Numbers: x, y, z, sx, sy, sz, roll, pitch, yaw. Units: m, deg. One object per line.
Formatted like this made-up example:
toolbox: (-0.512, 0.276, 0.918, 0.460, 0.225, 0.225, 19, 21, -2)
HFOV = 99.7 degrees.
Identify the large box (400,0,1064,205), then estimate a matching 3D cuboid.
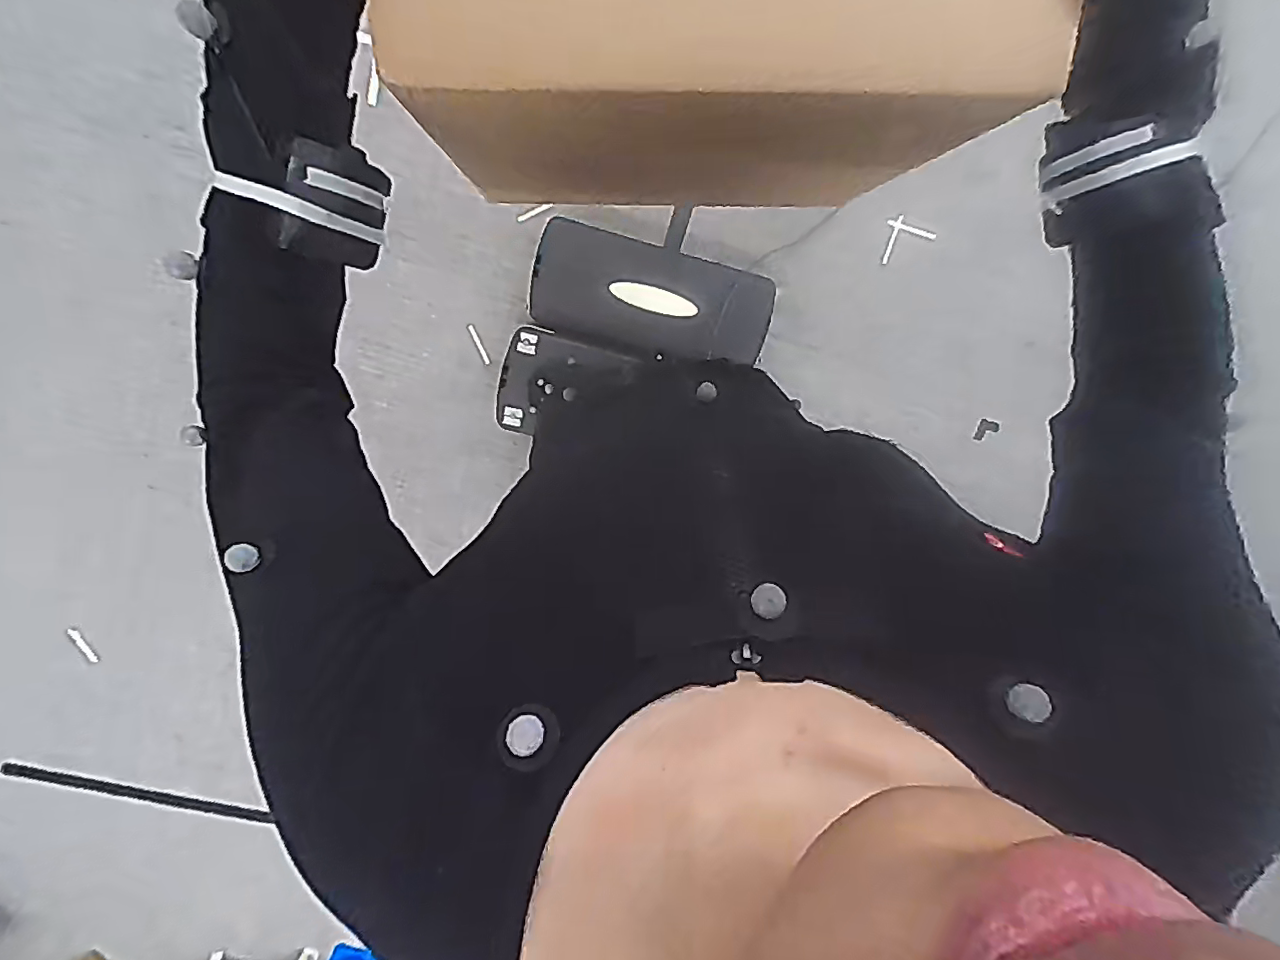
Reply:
large box: (0.045, -0.423, 0.430, 0.408, 0.320, 0.320, -2, 106, -5)
